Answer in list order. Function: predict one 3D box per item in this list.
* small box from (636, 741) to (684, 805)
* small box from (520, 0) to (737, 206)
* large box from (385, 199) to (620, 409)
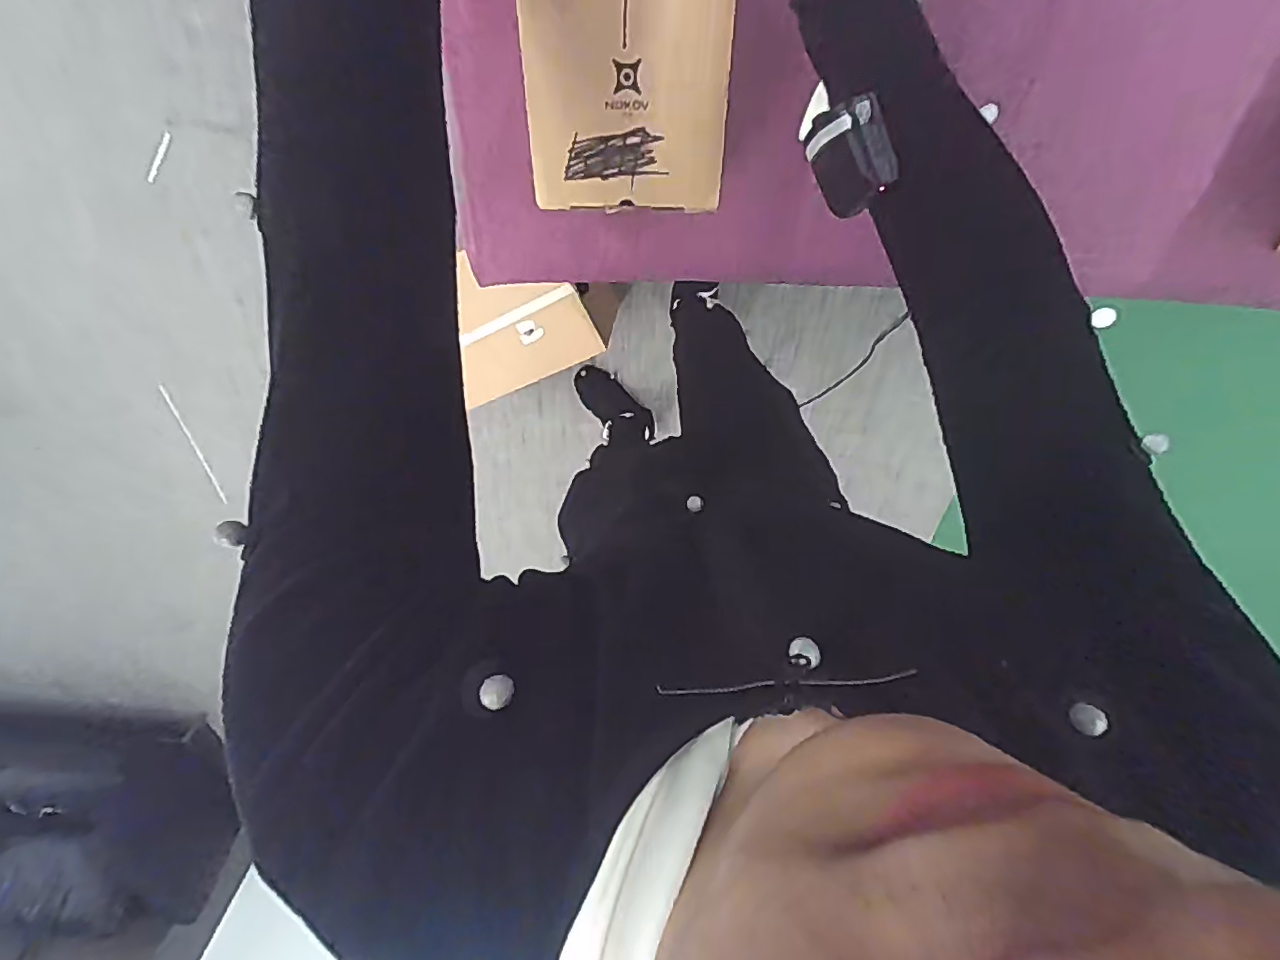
[{"bbox_3d":[0.089,1.257,2.323,0.168,0.176,0.179,13,126,-2],"label":"small box"},{"bbox_3d":[-0.004,-0.363,0.495,0.168,0.176,0.179,2,125,3],"label":"small box"},{"bbox_3d":[-0.301,-0.433,1.292,0.408,0.320,0.320,-20,123,17],"label":"large box"}]
